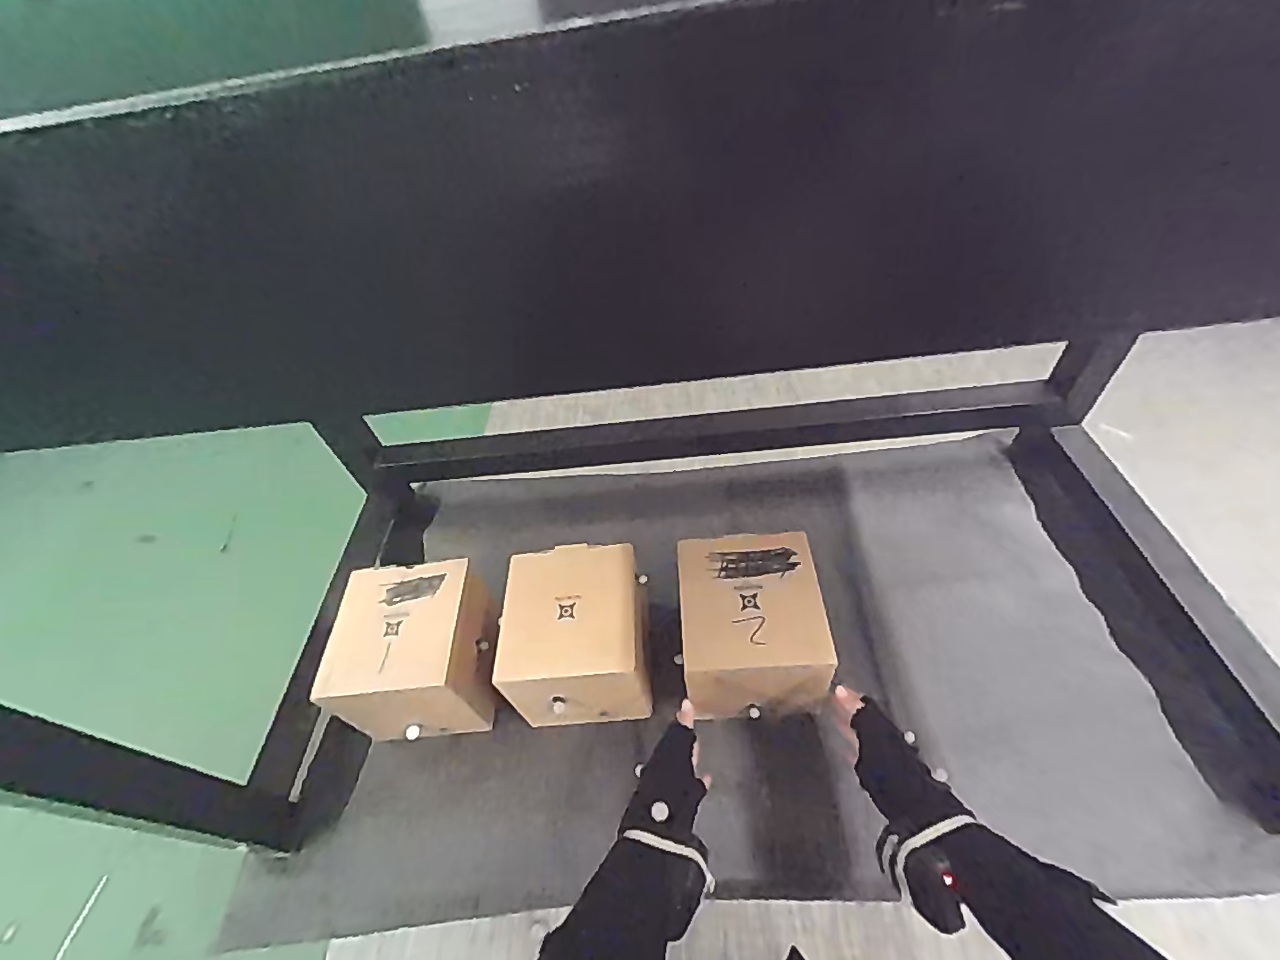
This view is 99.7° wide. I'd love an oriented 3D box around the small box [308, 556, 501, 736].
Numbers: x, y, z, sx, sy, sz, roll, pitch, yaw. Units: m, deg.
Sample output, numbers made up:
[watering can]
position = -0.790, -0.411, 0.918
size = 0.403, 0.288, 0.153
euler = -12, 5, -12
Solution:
[small box]
position = -0.300, 0.227, 0.738
size = 0.168, 0.176, 0.179
euler = -7, 49, 4
